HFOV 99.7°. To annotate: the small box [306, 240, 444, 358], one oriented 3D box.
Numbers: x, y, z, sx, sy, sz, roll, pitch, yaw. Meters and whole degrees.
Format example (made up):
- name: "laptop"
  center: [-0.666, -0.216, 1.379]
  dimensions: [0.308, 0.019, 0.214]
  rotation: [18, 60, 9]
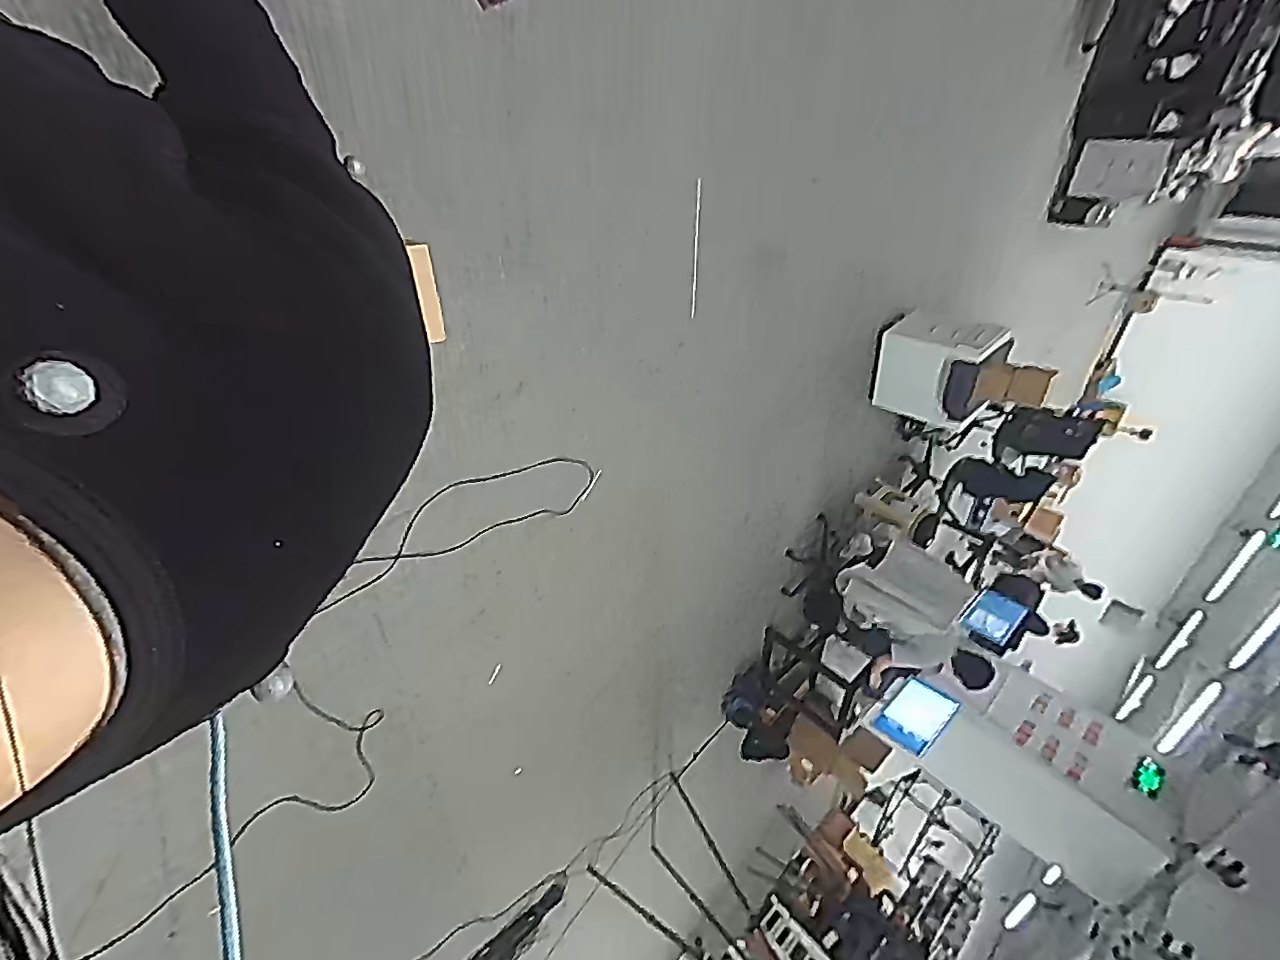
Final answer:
- name: "small box"
  center: [-0.491, -0.344, 1.004]
  dimensions: [0.168, 0.176, 0.179]
  rotation: [-25, 128, -34]
